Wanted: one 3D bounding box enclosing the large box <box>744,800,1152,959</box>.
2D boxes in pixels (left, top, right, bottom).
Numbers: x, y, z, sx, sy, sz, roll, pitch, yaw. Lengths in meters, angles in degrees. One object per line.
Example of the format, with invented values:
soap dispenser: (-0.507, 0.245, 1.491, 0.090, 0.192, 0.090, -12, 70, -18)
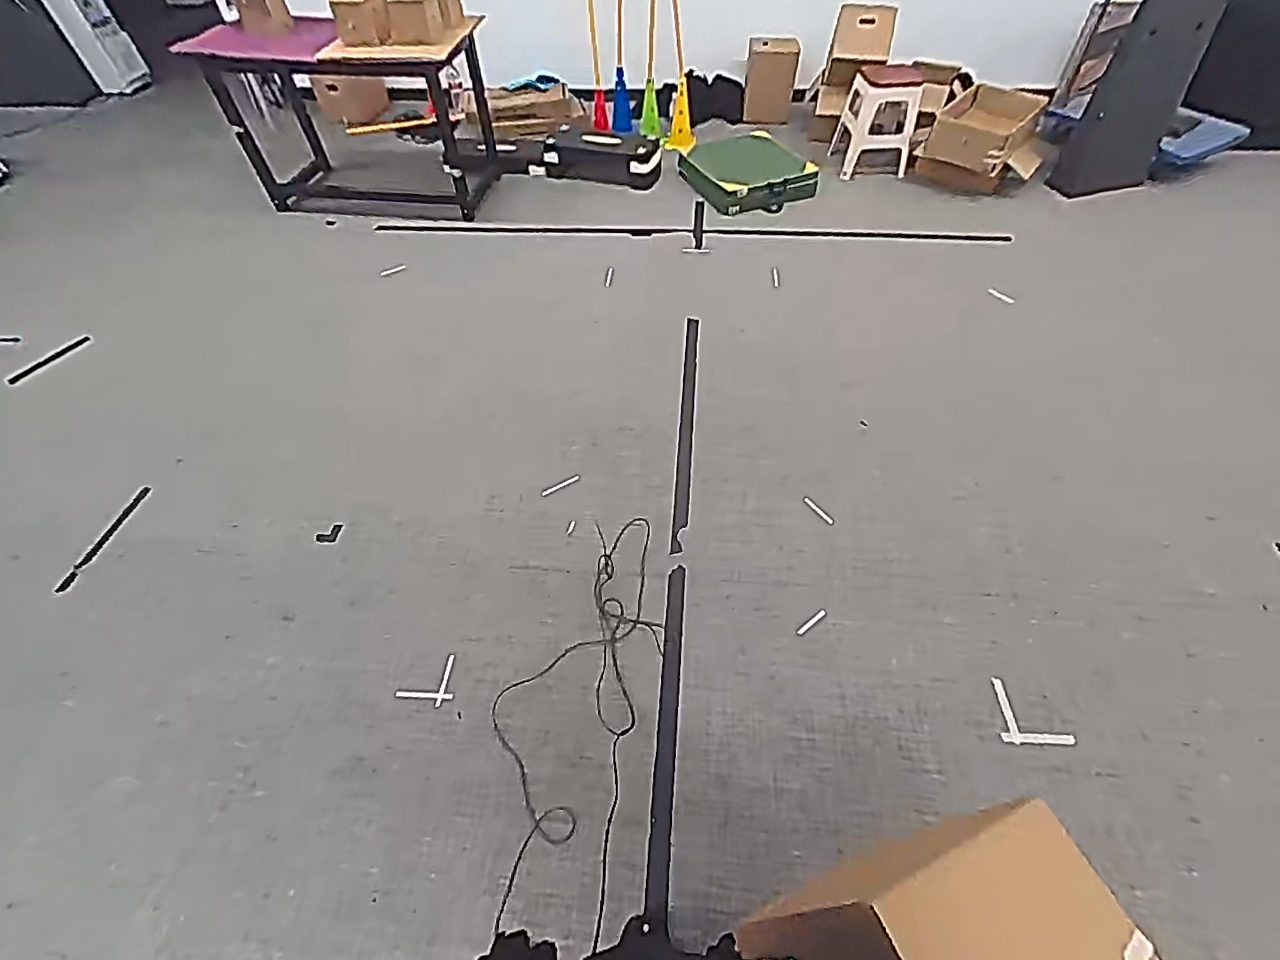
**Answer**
large box: (0.400, 0.682, 0.708, 0.320, 0.408, 0.320, -9, 52, -23)
